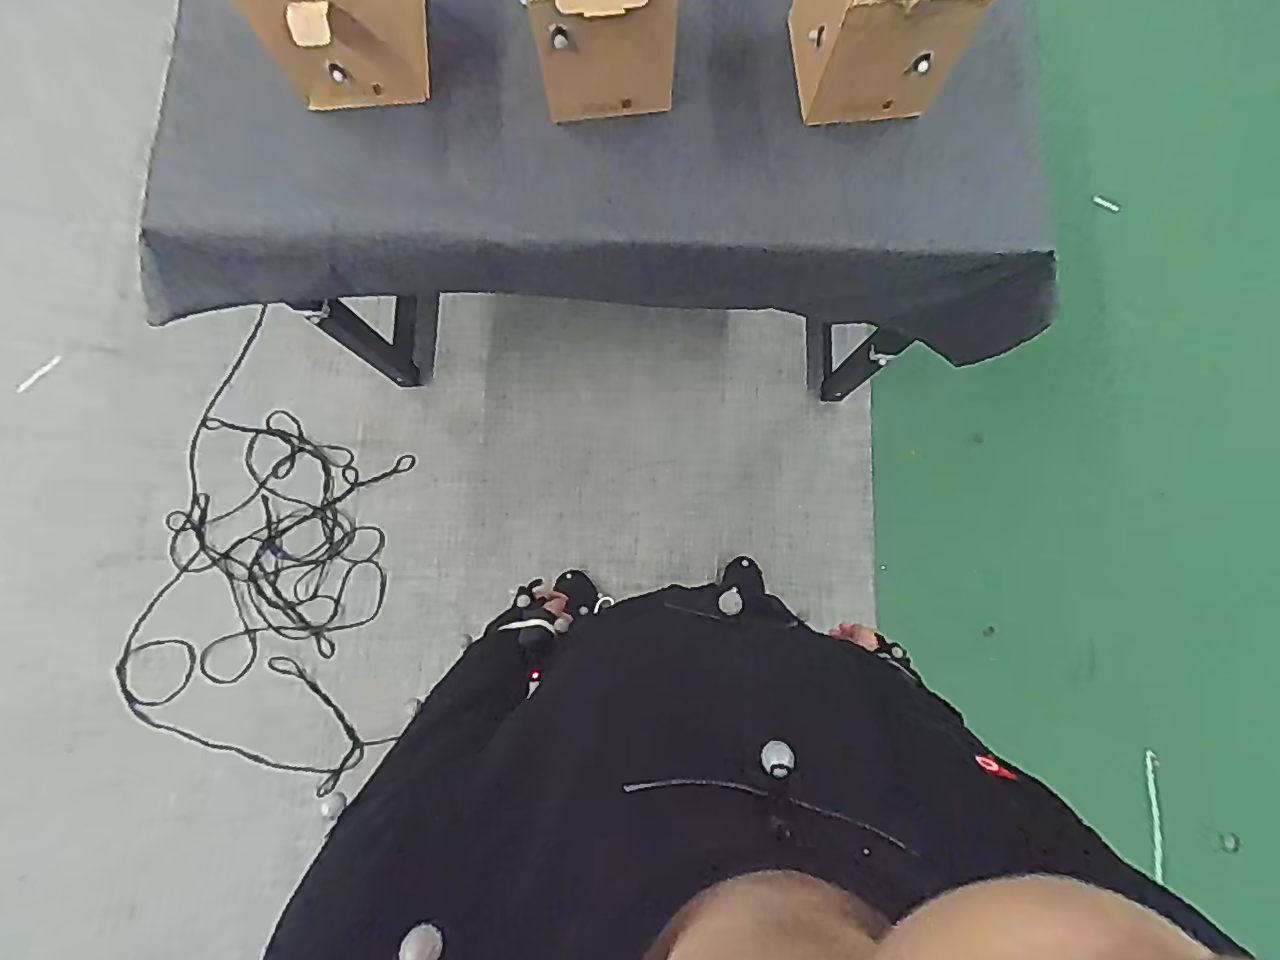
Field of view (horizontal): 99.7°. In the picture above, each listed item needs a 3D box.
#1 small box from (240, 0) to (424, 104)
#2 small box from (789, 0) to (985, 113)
[{"bbox_3d":[-0.378,-0.608,0.663,0.168,0.176,0.179,-5,82,-2],"label":"small box"},{"bbox_3d":[0.295,-0.587,0.665,0.168,0.176,0.179,-5,80,-2],"label":"small box"}]
